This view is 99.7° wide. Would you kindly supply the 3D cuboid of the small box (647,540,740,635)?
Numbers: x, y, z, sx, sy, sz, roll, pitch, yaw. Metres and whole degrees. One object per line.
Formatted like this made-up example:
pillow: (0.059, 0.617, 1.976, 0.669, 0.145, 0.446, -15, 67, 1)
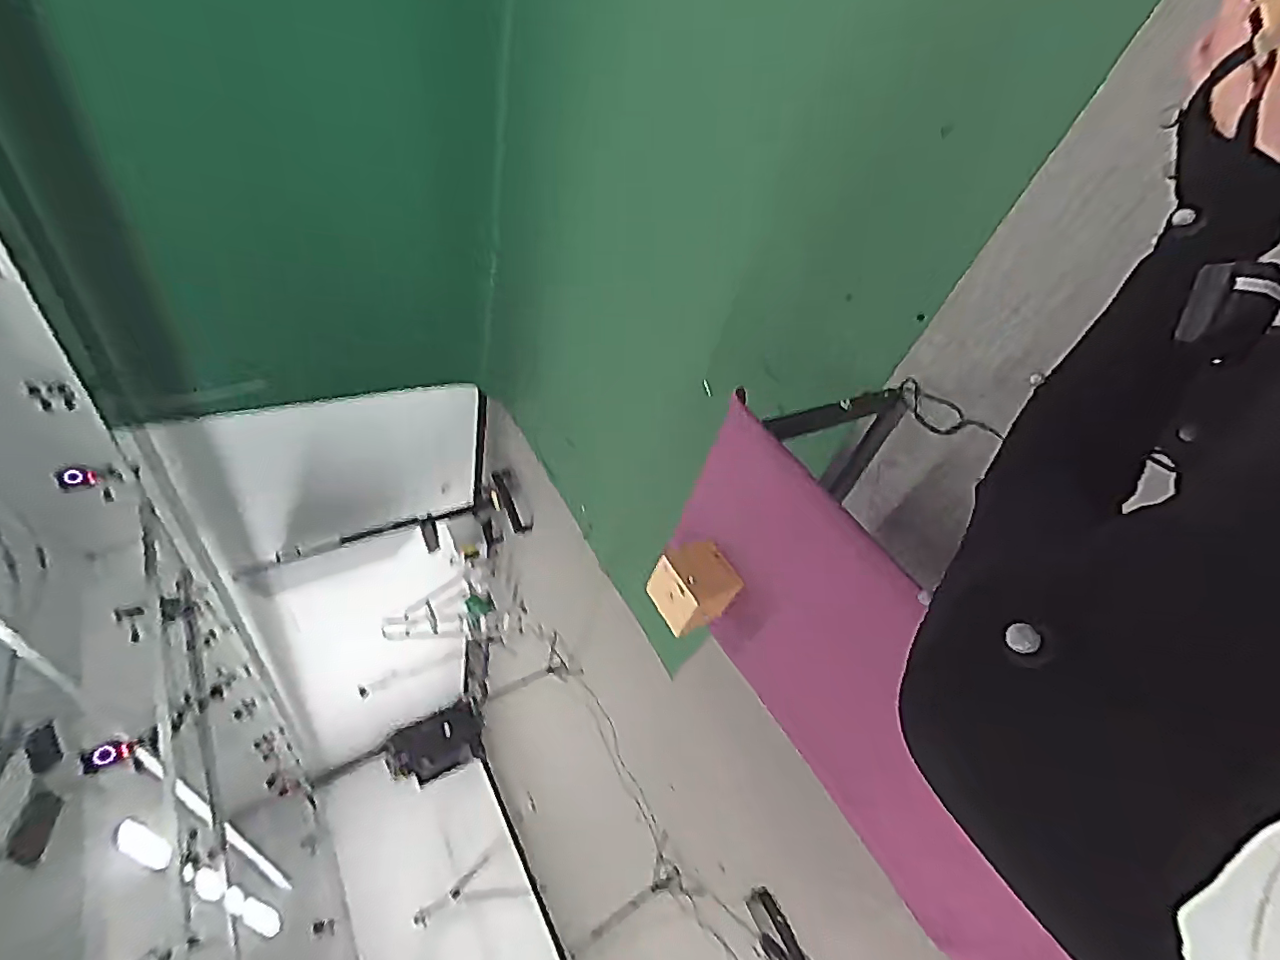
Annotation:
small box: (0.149, 0.294, 1.496, 0.168, 0.176, 0.179, 53, 142, 29)
